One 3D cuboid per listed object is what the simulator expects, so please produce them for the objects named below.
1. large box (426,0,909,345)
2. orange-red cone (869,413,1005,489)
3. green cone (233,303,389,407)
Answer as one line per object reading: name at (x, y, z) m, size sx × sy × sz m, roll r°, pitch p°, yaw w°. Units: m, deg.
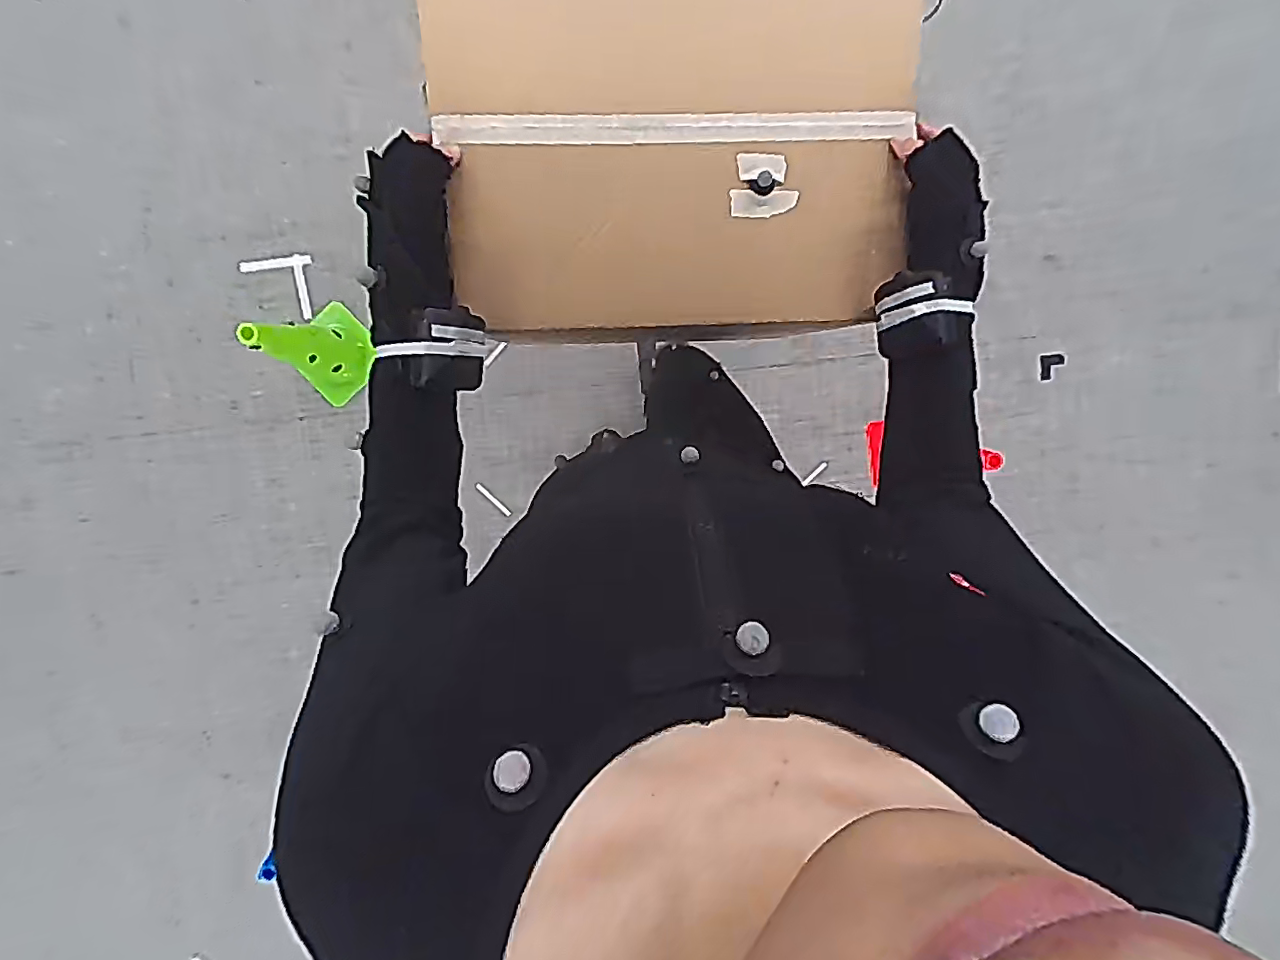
large box at (0.019, -0.327, 0.603) m, size 0.408 × 0.320 × 0.320 m, roll -3°, pitch 102°, yaw -5°
orange-red cone at (0.750, -0.065, 1.331) m, size 0.198 × 0.360 × 0.199 m, roll -9°, pitch 95°, yaw -3°
green cone at (-0.766, -0.298, 1.212) m, size 0.202 × 0.368 × 0.200 m, roll -43°, pitch 96°, yaw 3°
